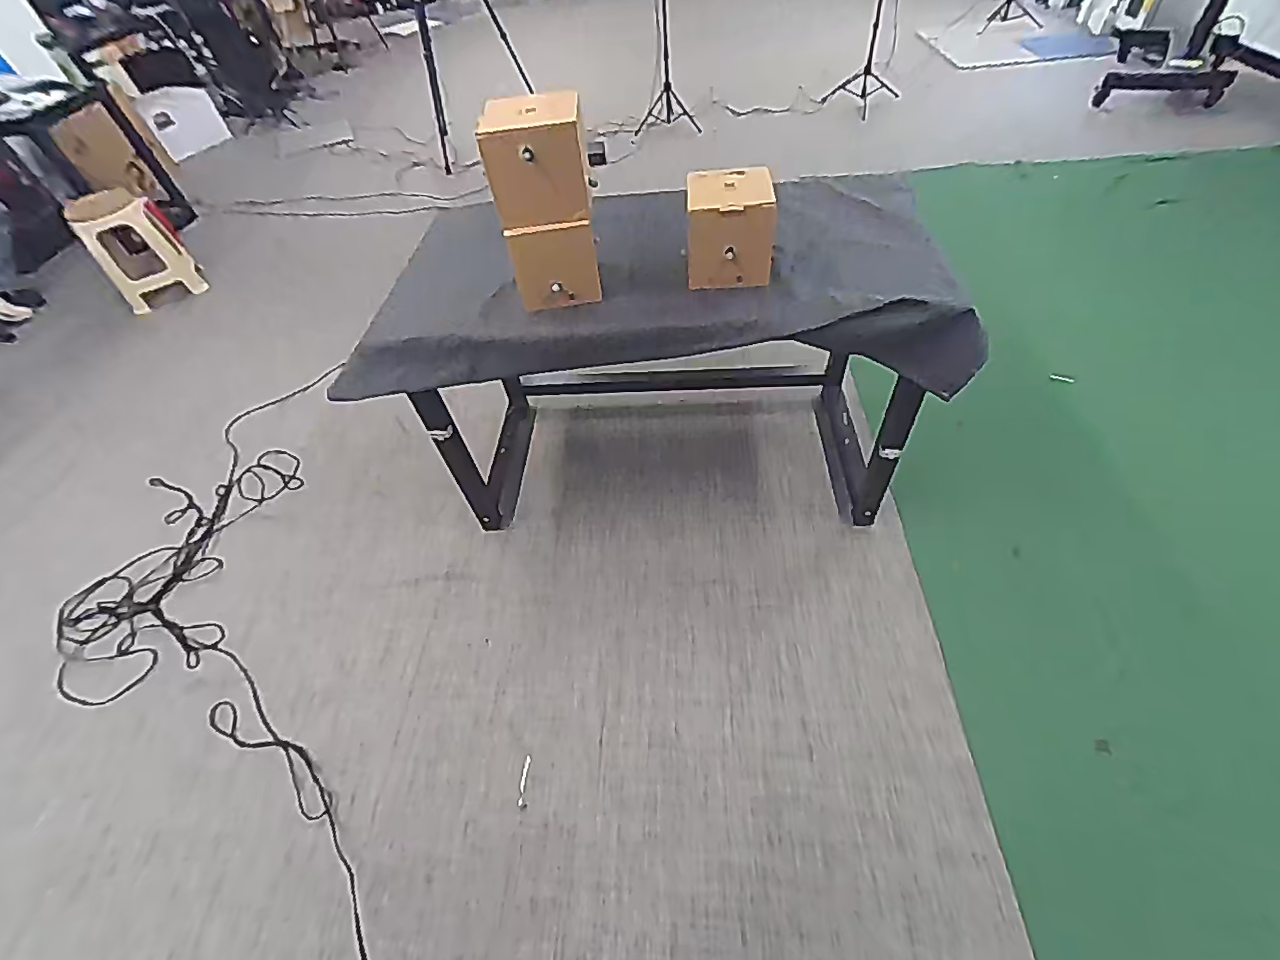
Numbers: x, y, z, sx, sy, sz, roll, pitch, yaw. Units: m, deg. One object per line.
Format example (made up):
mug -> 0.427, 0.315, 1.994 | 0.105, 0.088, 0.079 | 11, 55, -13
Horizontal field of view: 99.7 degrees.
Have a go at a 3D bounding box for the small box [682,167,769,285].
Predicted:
small box -> 0.173, -0.519, 1.120 | 0.168, 0.176, 0.179 | -1, 51, 6

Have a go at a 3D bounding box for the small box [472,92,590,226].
small box -> -0.194, -0.596, 1.013 | 0.179, 0.176, 0.168 | -6, 52, 1

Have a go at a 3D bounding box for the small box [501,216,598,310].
small box -> -0.185, -0.481, 1.128 | 0.168, 0.176, 0.179 | -9, 51, -1
